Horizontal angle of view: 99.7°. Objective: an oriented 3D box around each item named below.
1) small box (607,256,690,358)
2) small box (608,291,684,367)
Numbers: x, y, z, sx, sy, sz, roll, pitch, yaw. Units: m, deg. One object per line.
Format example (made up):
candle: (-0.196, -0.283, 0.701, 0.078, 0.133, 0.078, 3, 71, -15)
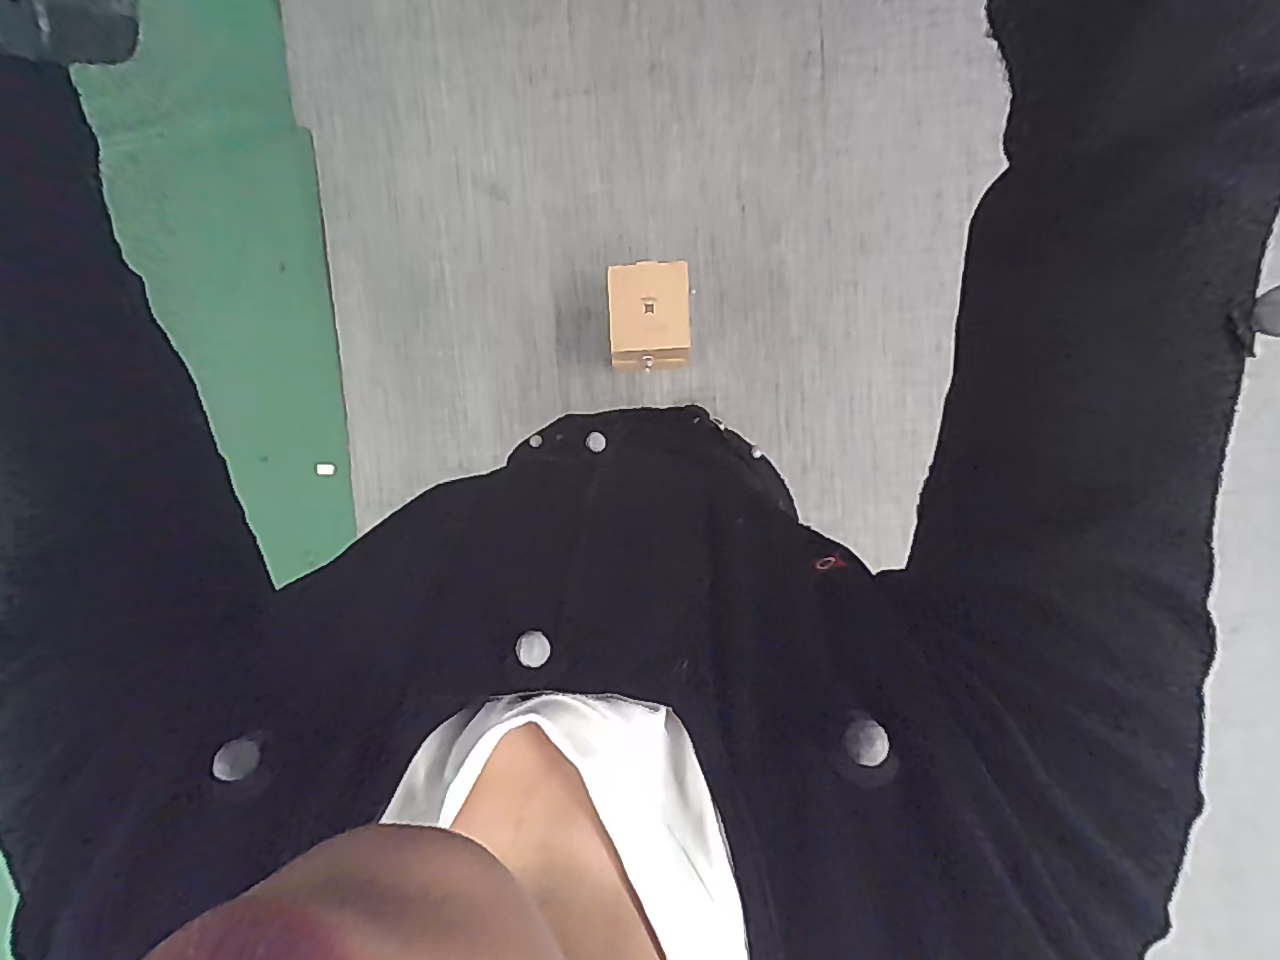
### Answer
small box: (0.023, -0.371, 1.183, 0.168, 0.176, 0.179, -3, 96, 6)
small box: (0.019, -0.376, 1.344, 0.179, 0.176, 0.168, -2, 95, 5)
